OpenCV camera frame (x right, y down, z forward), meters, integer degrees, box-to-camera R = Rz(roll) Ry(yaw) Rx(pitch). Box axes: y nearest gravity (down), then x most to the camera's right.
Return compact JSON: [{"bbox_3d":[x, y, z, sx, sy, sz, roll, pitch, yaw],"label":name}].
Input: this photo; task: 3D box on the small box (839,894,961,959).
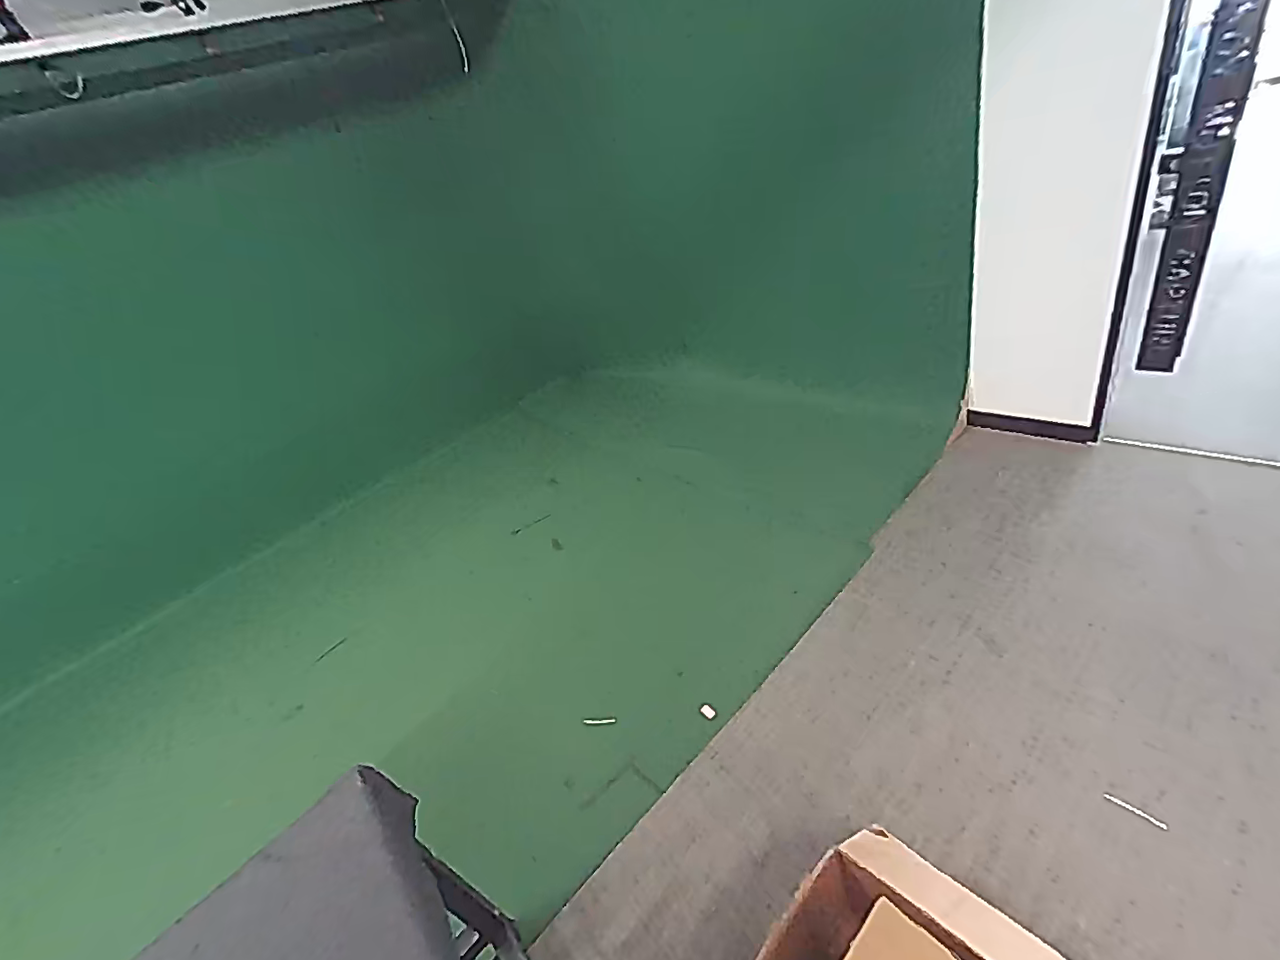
[{"bbox_3d":[0.386,0.778,0.794,0.179,0.176,0.168,-35,37,-27],"label":"small box"}]
